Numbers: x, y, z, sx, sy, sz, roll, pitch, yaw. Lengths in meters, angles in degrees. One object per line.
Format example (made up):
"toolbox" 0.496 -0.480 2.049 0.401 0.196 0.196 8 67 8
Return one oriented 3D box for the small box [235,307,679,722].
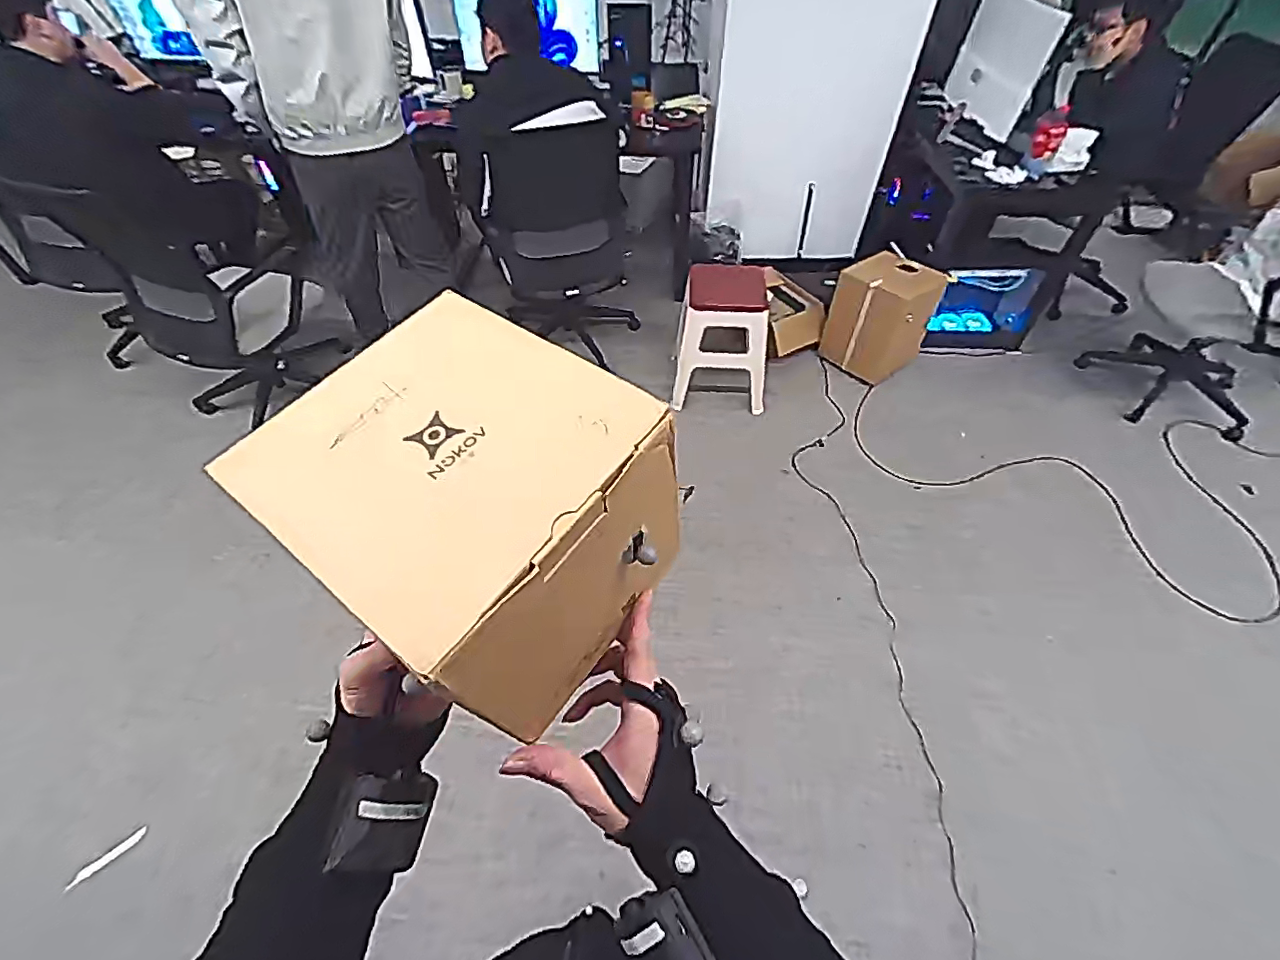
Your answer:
"small box" -0.089 0.029 0.347 0.179 0.176 0.168 30 64 23
